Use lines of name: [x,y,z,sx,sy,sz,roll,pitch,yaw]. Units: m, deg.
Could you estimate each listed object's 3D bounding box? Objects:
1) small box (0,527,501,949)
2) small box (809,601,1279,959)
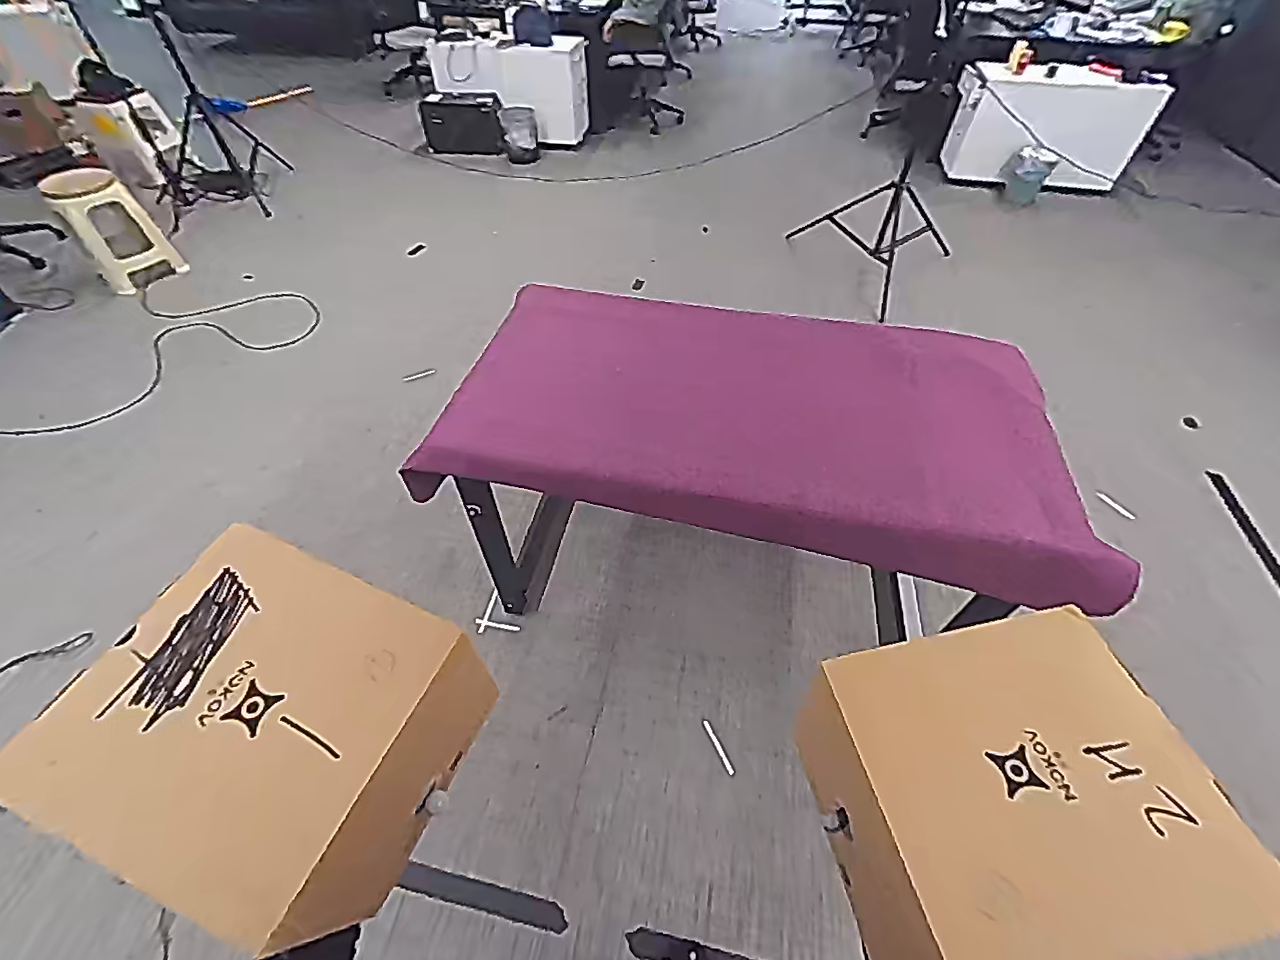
small box: [-0.216,0.165,0.363,0.179,0.176,0.168,22,58,8]
small box: [0.225,0.208,0.361,0.179,0.176,0.168,-12,50,-3]
